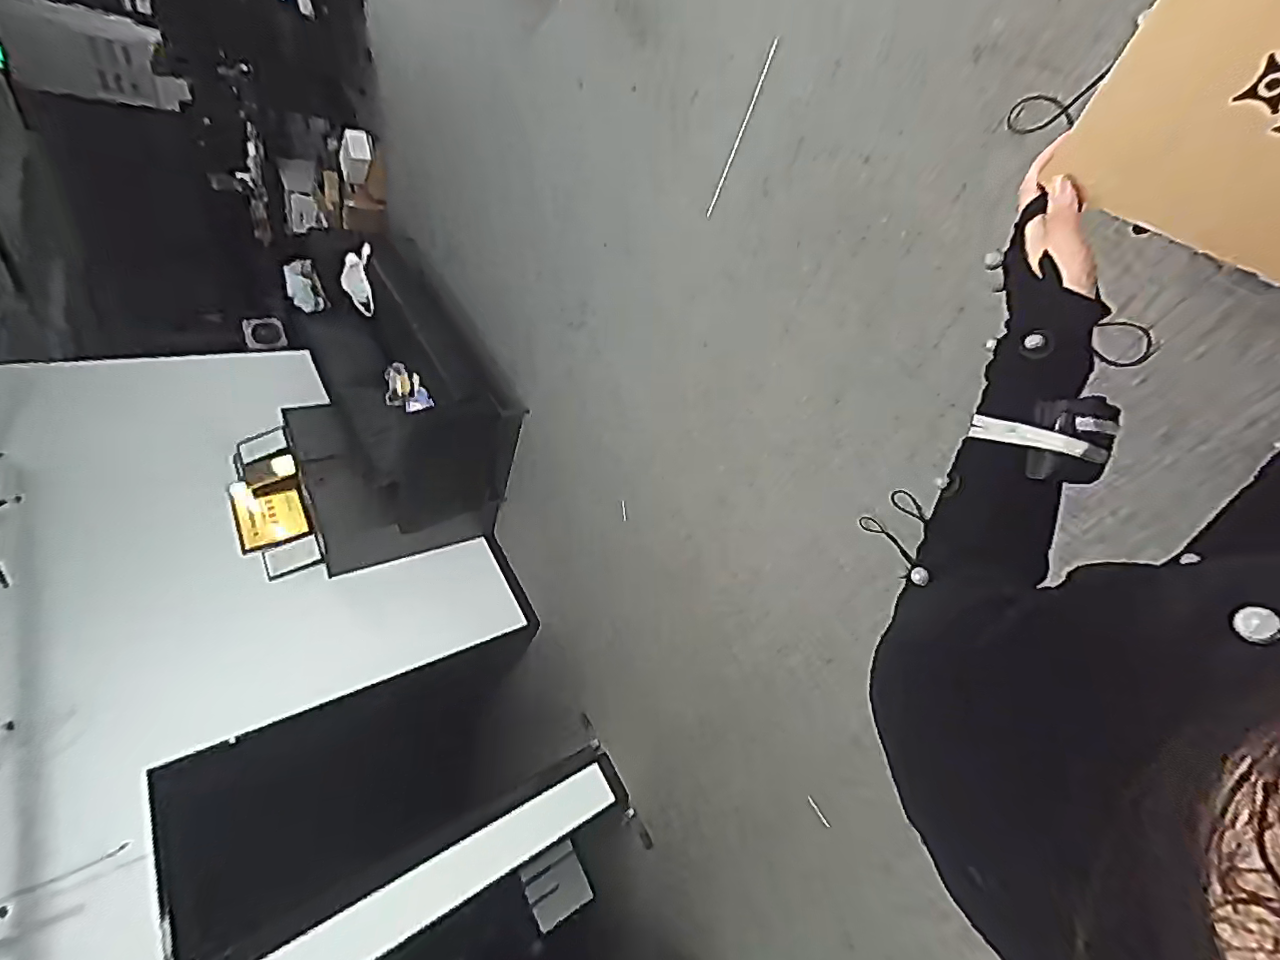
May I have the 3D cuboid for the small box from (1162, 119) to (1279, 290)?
[{"bbox_3d":[0.971,-0.407,0.823,0.168,0.176,0.179,55,137,27],"label":"small box"}]
